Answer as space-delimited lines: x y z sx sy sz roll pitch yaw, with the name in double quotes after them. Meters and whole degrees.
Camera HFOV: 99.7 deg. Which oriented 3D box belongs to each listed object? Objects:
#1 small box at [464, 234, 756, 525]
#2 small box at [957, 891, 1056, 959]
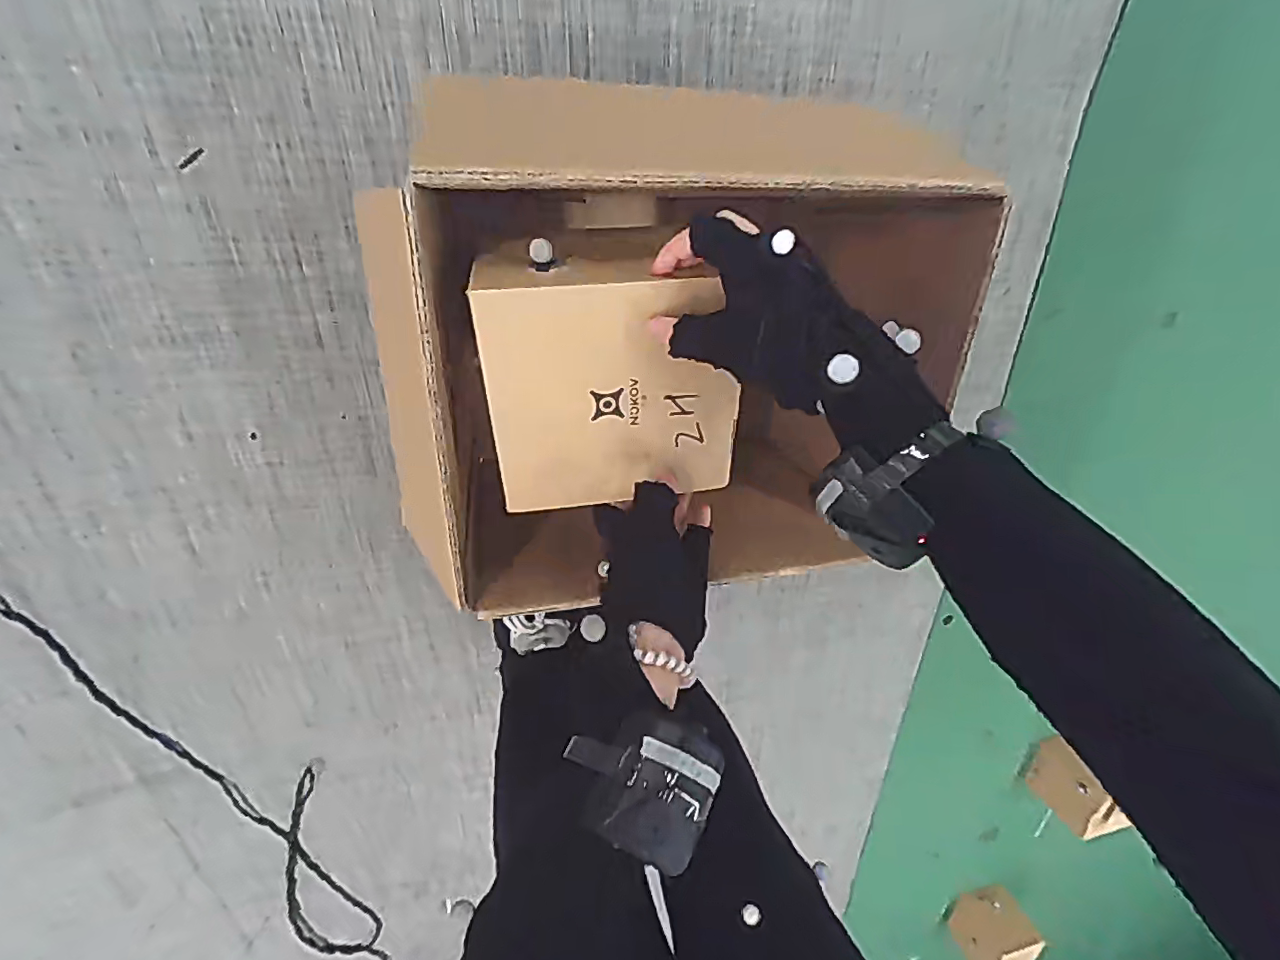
-0.029 -0.088 0.425 0.179 0.176 0.168 -7 126 -9 "small box"
1.129 1.430 1.683 0.168 0.176 0.179 -6 117 -13 "small box"
